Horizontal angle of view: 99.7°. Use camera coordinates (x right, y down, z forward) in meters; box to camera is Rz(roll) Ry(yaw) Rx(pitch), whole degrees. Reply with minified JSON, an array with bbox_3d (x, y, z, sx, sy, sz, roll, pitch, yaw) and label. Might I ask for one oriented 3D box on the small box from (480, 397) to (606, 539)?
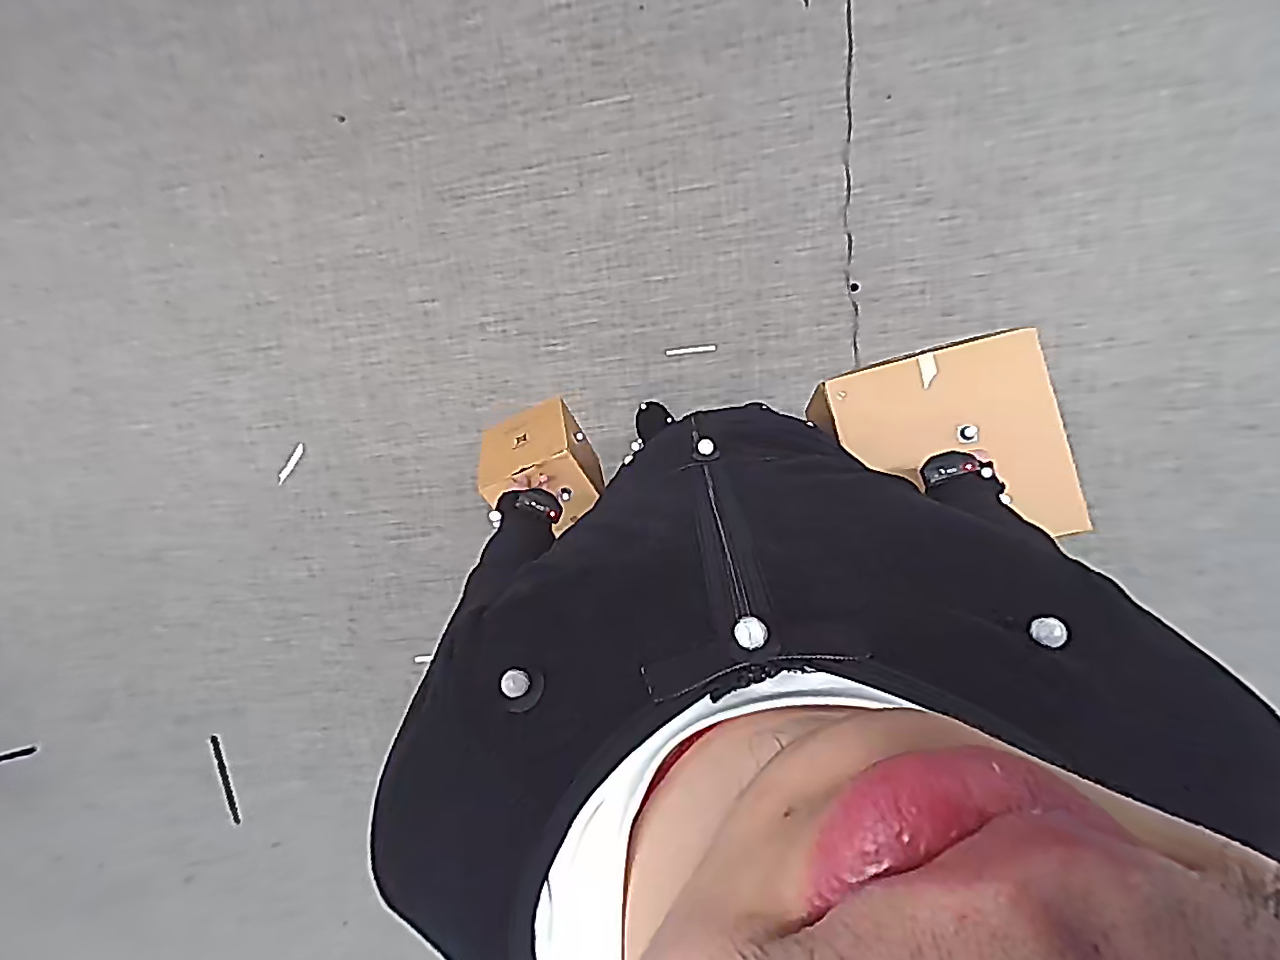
[{"bbox_3d":[-0.174,-0.014,0.991,0.168,0.179,0.176,-23,129,6],"label":"small box"}]
